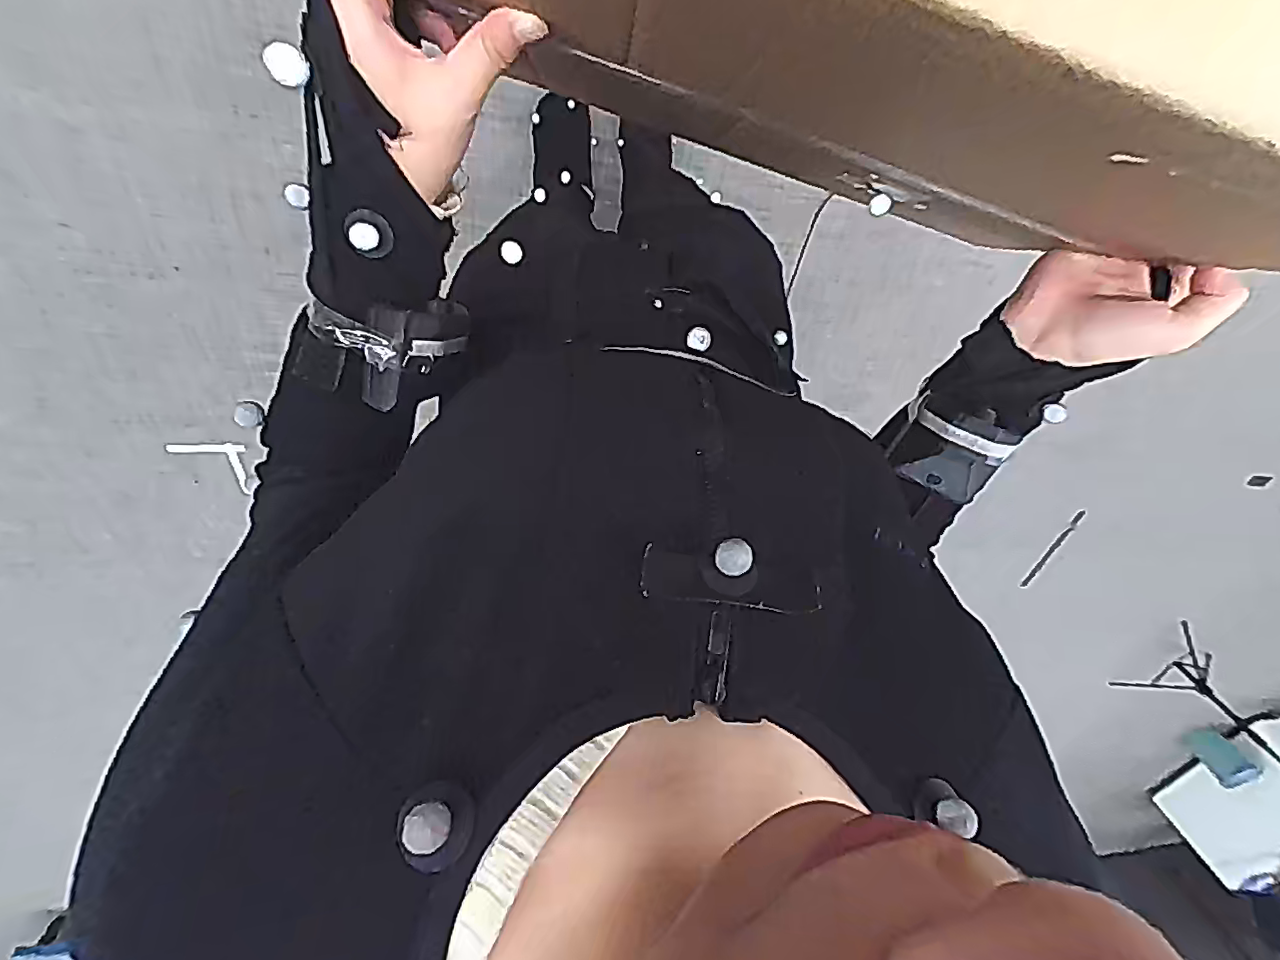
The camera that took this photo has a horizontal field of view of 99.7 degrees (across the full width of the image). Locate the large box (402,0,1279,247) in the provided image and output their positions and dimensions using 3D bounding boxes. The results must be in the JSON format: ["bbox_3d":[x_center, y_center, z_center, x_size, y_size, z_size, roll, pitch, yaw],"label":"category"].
[{"bbox_3d":[0.117,-0.310,0.201,0.408,0.320,0.320,12,116,-9],"label":"large box"}]
